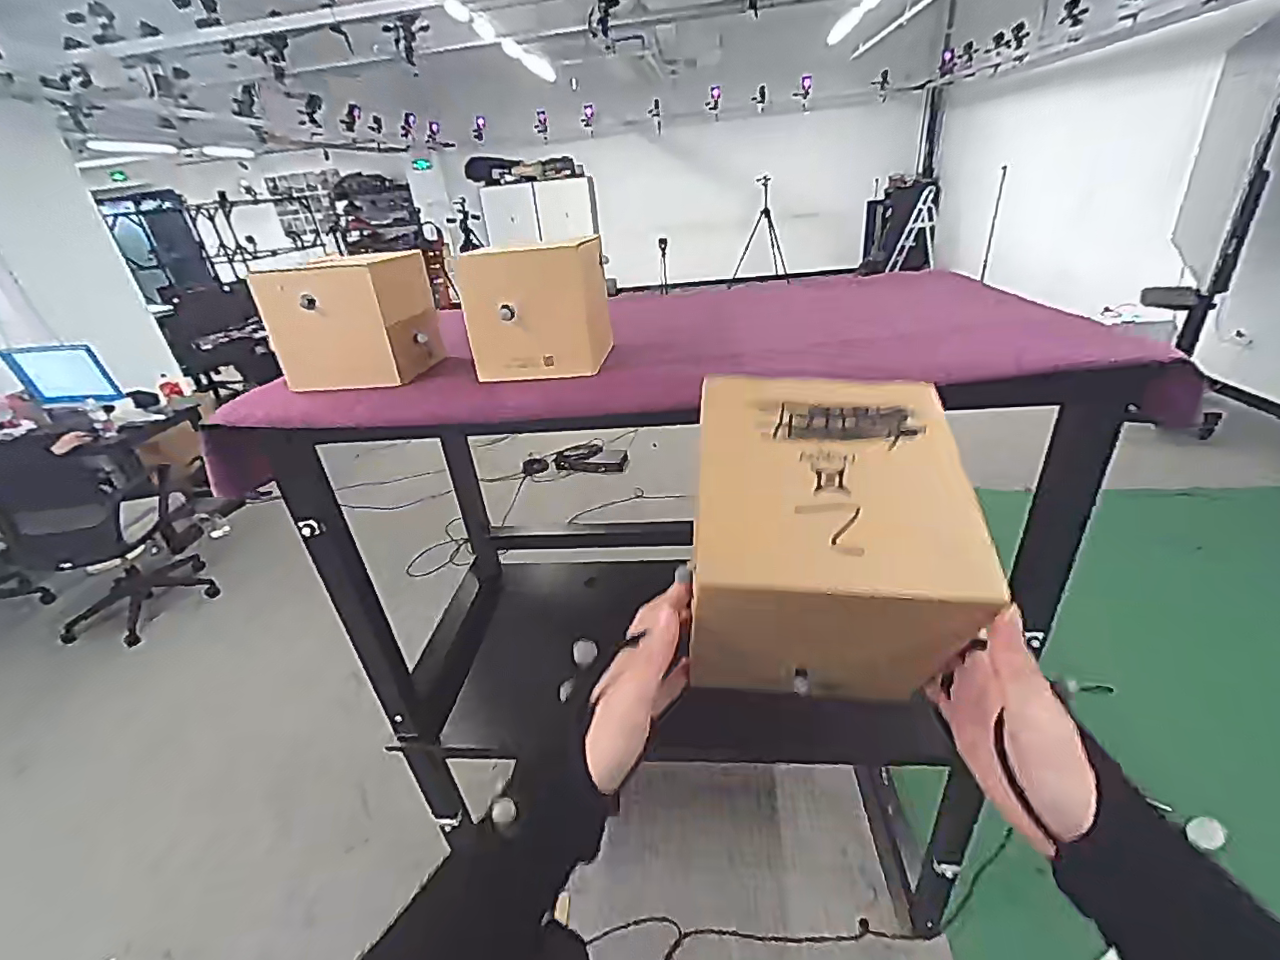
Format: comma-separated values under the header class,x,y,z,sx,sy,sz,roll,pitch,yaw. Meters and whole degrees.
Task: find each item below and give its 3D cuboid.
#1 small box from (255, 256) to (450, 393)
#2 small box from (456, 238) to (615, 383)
class,x,y,z,sx,sy,sz,roll,pitch,yaw
small box,-0.414,-0.235,0.813,0.179,0.176,0.168,-1,28,7
small box,-0.134,-0.240,0.774,0.168,0.176,0.179,-2,26,8
